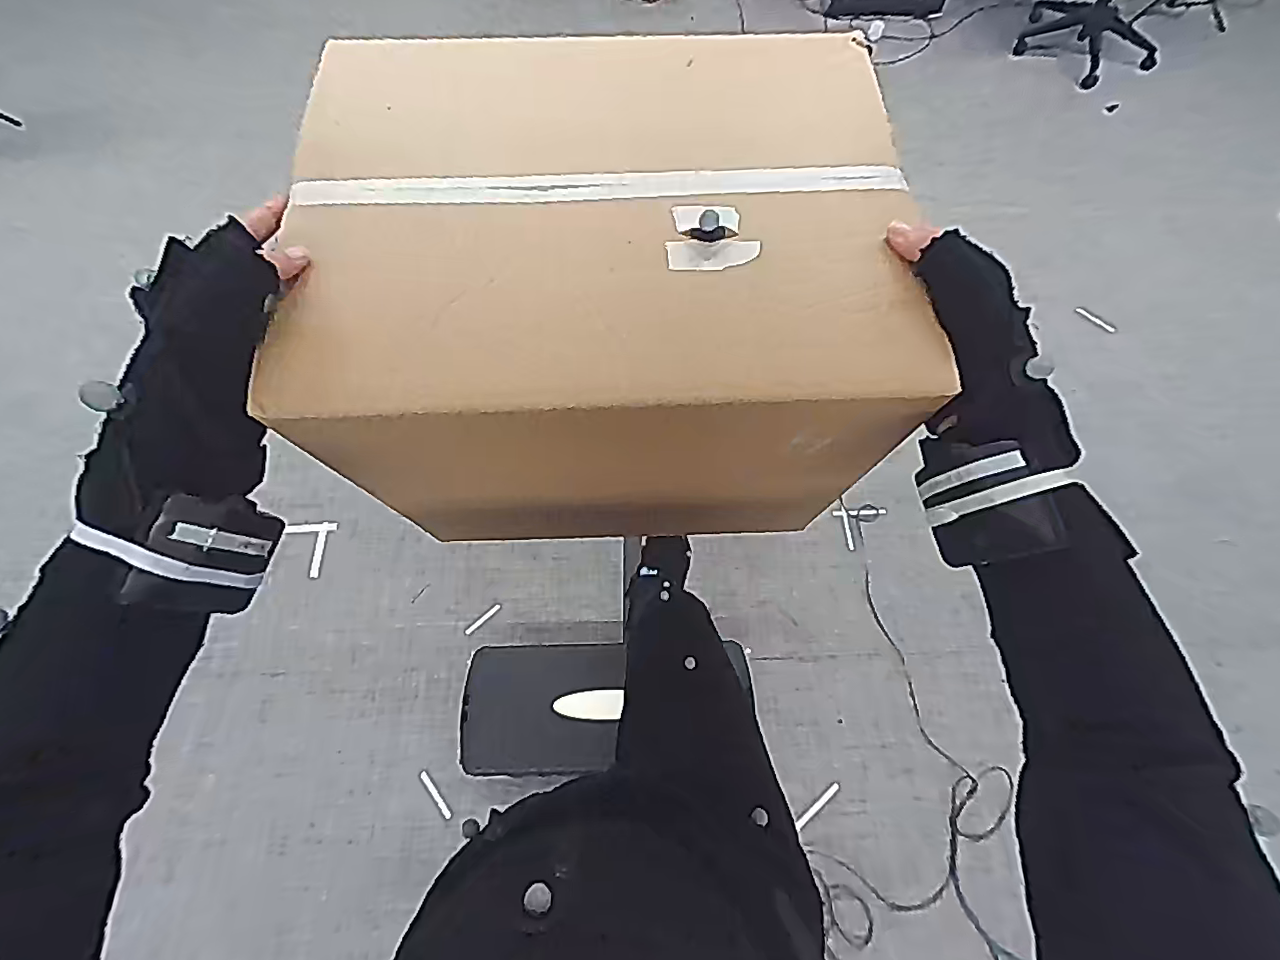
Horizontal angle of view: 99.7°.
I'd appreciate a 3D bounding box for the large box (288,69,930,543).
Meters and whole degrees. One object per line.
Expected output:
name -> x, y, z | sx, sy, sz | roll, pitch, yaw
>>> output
large box -> -0.026, -0.133, 0.521 | 0.408, 0.320, 0.320 | -2, 70, -1
